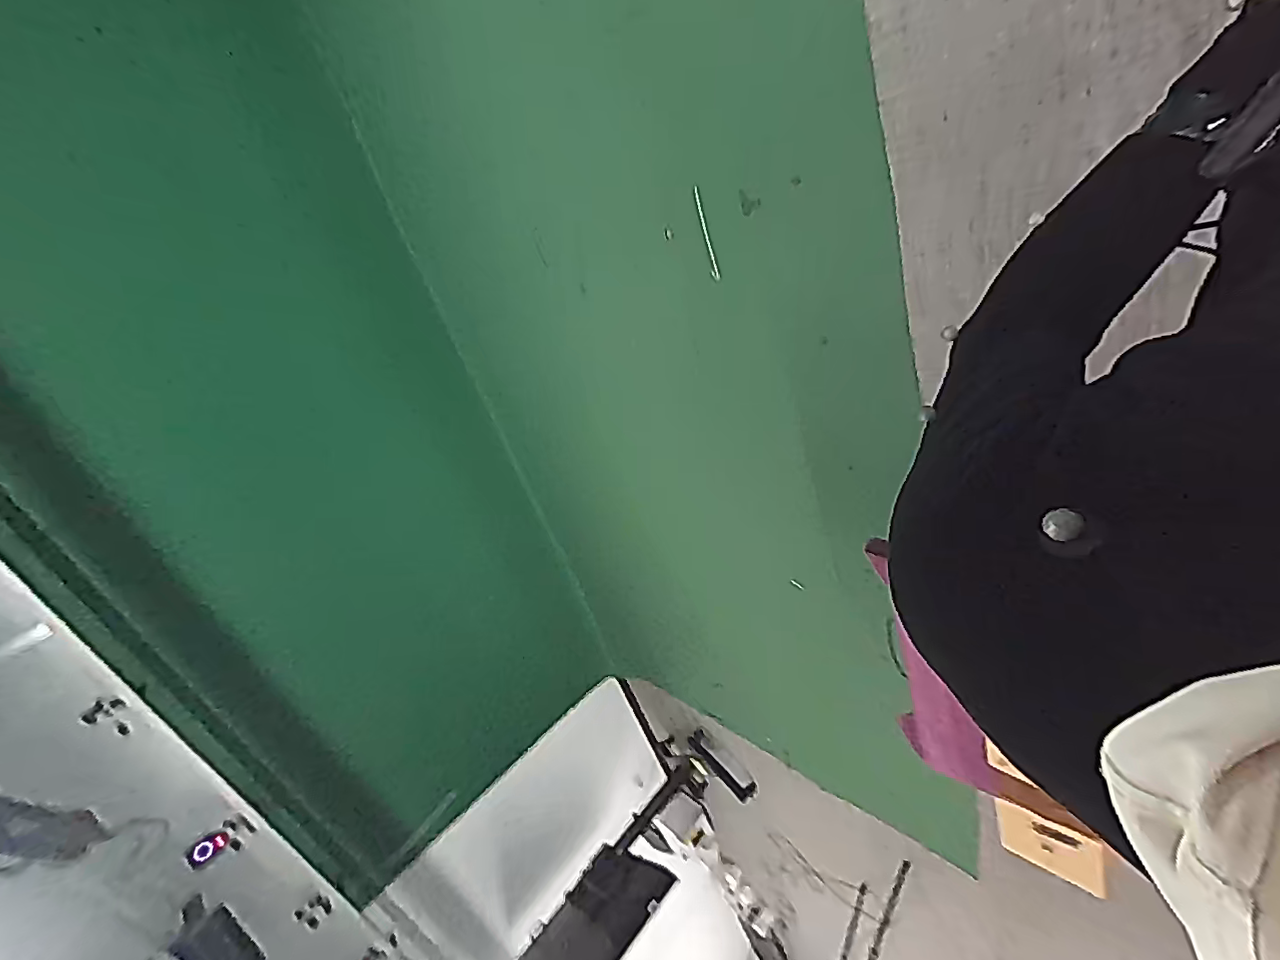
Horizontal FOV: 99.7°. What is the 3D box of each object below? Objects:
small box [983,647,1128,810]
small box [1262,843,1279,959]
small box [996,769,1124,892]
[{"bbox_3d":[0.745,0.430,0.968,0.179,0.176,0.168,9,129,48],"label":"small box"},{"bbox_3d":[1.060,0.673,0.794,0.179,0.176,0.168,5,125,51],"label":"small box"},{"bbox_3d":[0.831,0.643,1.069,0.168,0.176,0.179,8,129,50],"label":"small box"}]
